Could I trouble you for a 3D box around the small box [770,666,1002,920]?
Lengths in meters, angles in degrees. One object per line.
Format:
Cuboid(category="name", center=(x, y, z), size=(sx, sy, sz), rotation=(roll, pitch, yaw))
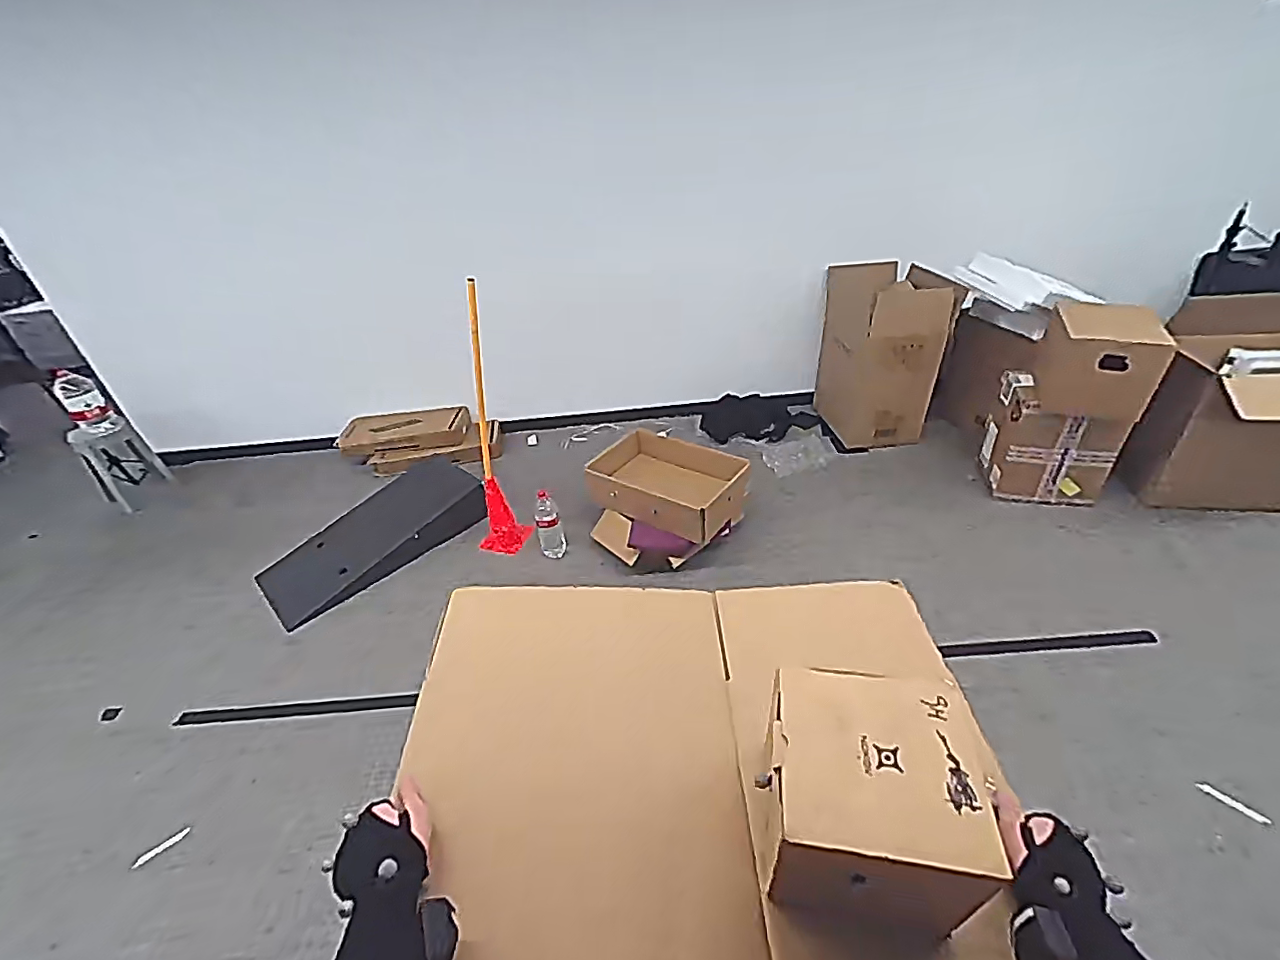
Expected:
Cuboid(category="small box", center=(0.224, 0.315, 0.549), size=(0.179, 0.176, 0.168), rotation=(2, 40, 12))
